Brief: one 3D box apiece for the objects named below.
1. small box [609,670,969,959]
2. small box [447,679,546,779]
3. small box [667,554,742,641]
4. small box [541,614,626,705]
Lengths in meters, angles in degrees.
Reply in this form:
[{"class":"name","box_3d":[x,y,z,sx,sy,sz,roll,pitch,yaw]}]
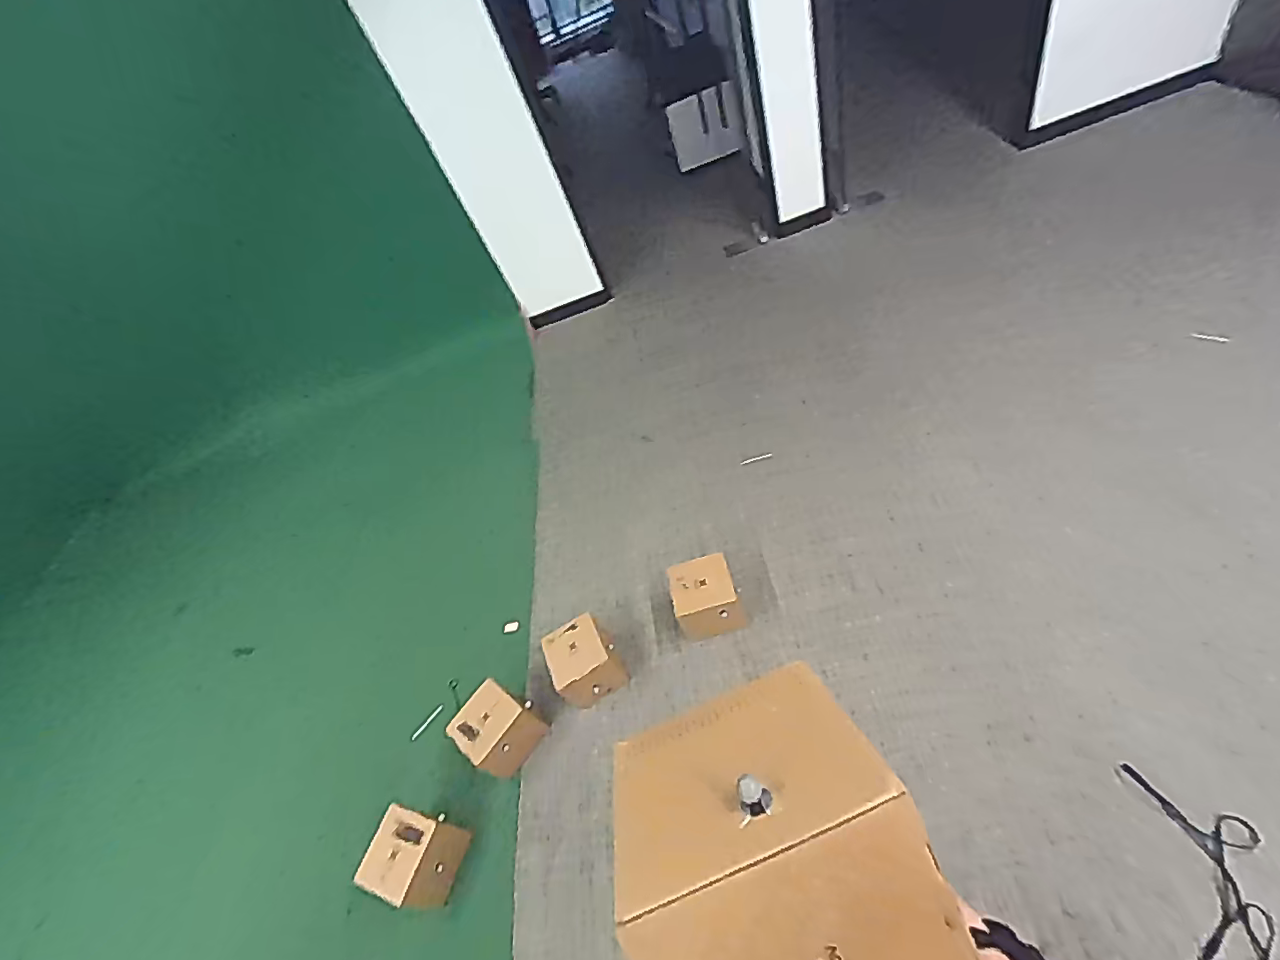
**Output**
[{"class":"small box","box_3d":[0.090,0.267,0.380,0.179,0.168,0.176,-24,6,0]},{"class":"small box","box_3d":[-0.398,0.707,1.529,0.168,0.176,0.179,23,63,37]},{"class":"small box","box_3d":[0.192,0.345,1.575,0.179,0.176,0.168,-18,46,8]},{"class":"small box","box_3d":[-0.161,0.531,1.575,0.168,0.176,0.179,-30,46,-2]}]
